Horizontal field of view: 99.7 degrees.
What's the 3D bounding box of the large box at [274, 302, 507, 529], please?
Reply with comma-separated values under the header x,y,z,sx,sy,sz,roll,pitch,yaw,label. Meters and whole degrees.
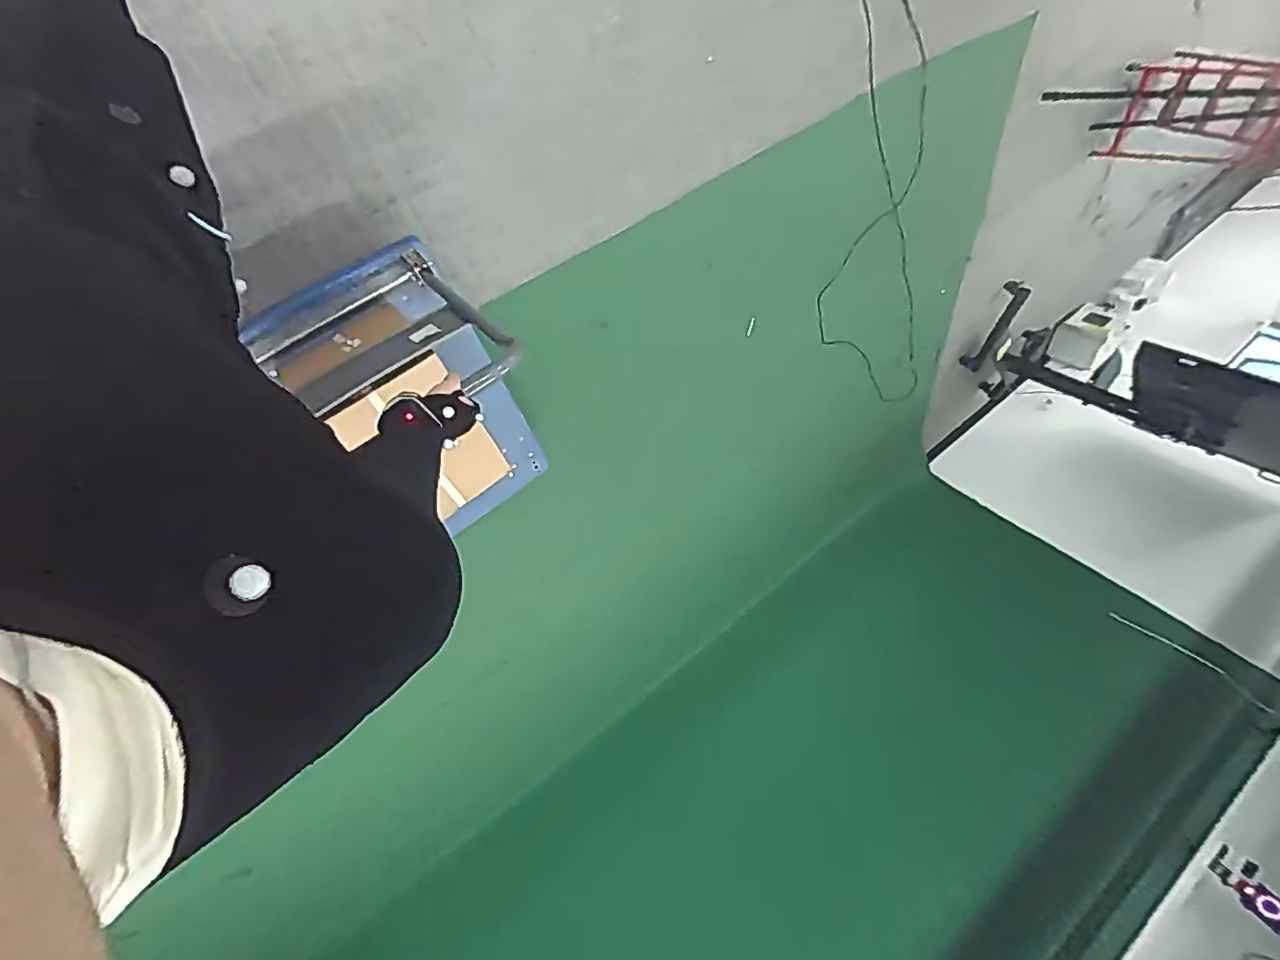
x,y,z,sx,sy,sz,roll,pitch,yaw,label
-0.609,-0.158,1.355,0.320,0.320,0.408,-37,141,-13,large box
